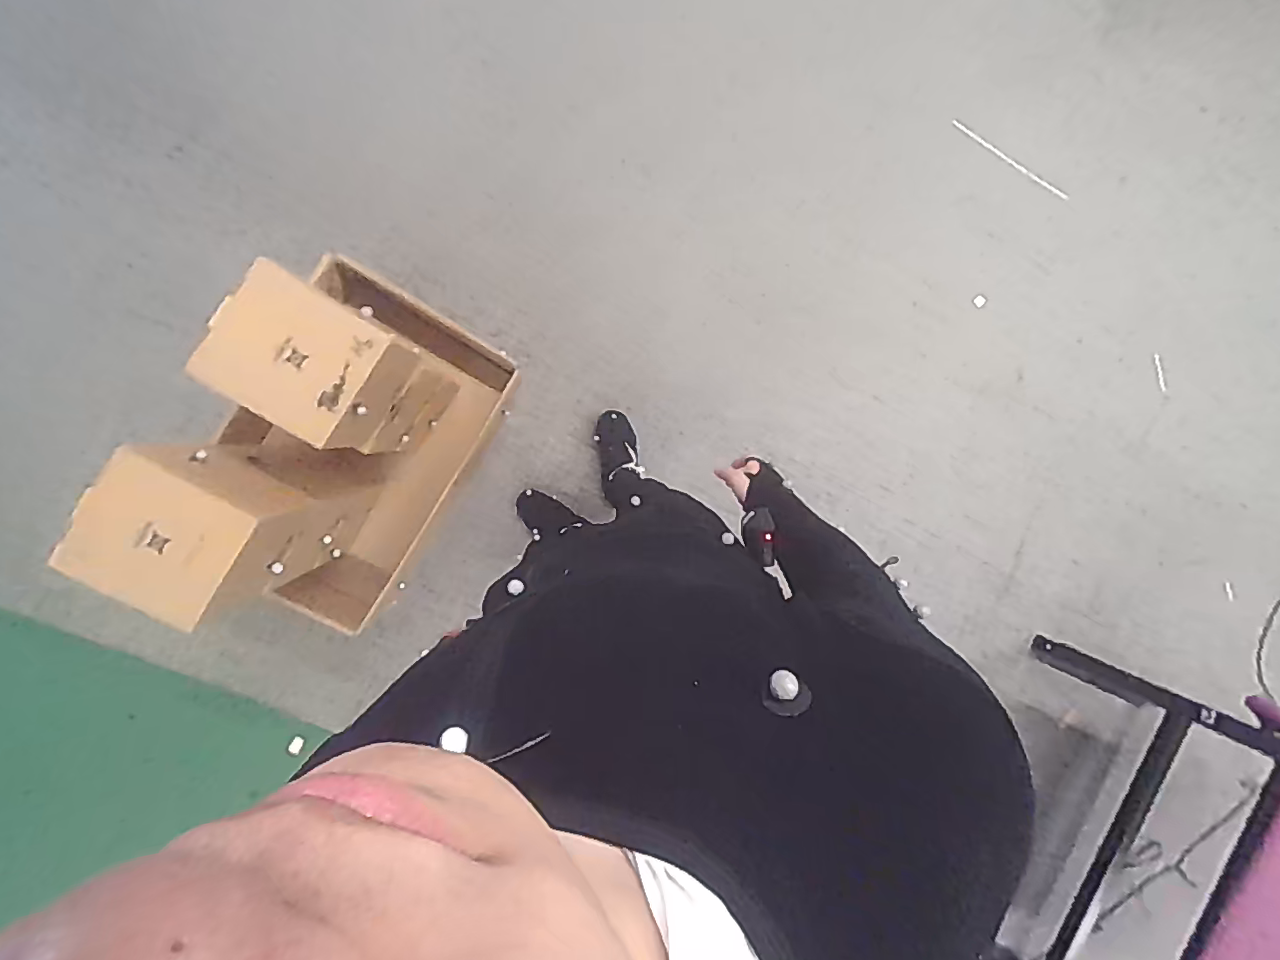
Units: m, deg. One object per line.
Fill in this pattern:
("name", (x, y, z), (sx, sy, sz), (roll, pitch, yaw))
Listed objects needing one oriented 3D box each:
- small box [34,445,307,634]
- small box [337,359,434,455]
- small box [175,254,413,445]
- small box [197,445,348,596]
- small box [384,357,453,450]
("small box", (-0.592, 0.068, 0.712), (0.179, 0.176, 0.168), (32, 90, -9))
("small box", (-0.465, -0.158, 0.882), (0.179, 0.176, 0.168), (33, 89, -10))
("small box", (-0.438, -0.157, 0.720), (0.179, 0.176, 0.168), (33, 89, -10))
("small box", (-0.618, 0.057, 0.872), (0.179, 0.176, 0.168), (31, 90, -10))
("small box", (-0.490, -0.170, 1.044), (0.179, 0.176, 0.168), (32, 89, -11))
